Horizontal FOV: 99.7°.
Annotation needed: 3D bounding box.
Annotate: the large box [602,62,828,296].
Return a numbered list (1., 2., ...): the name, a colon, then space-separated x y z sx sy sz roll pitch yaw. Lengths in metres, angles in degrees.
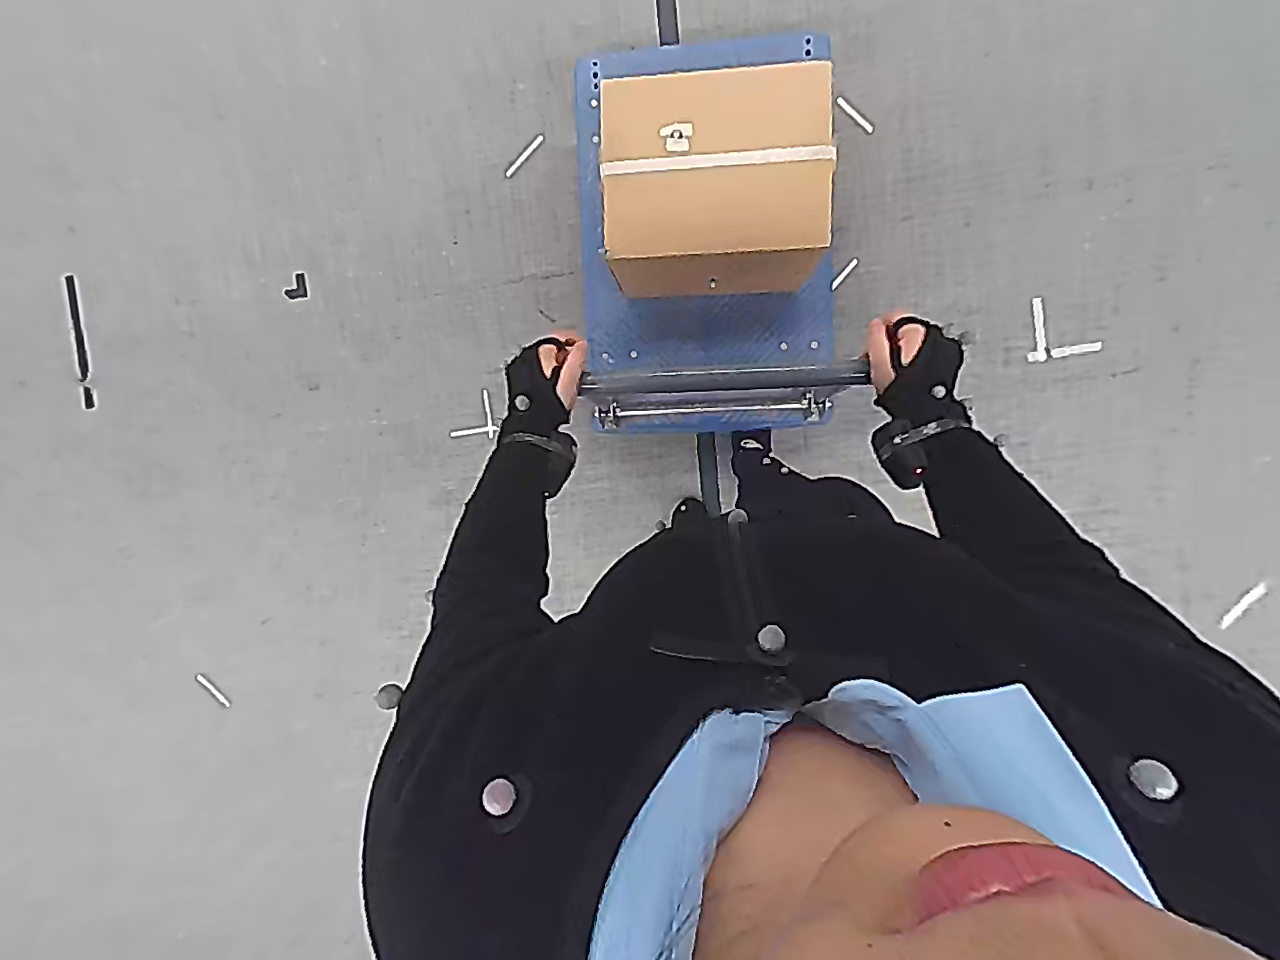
1. large box: 0.151 -0.582 1.119 0.408 0.320 0.320 -1 94 7
